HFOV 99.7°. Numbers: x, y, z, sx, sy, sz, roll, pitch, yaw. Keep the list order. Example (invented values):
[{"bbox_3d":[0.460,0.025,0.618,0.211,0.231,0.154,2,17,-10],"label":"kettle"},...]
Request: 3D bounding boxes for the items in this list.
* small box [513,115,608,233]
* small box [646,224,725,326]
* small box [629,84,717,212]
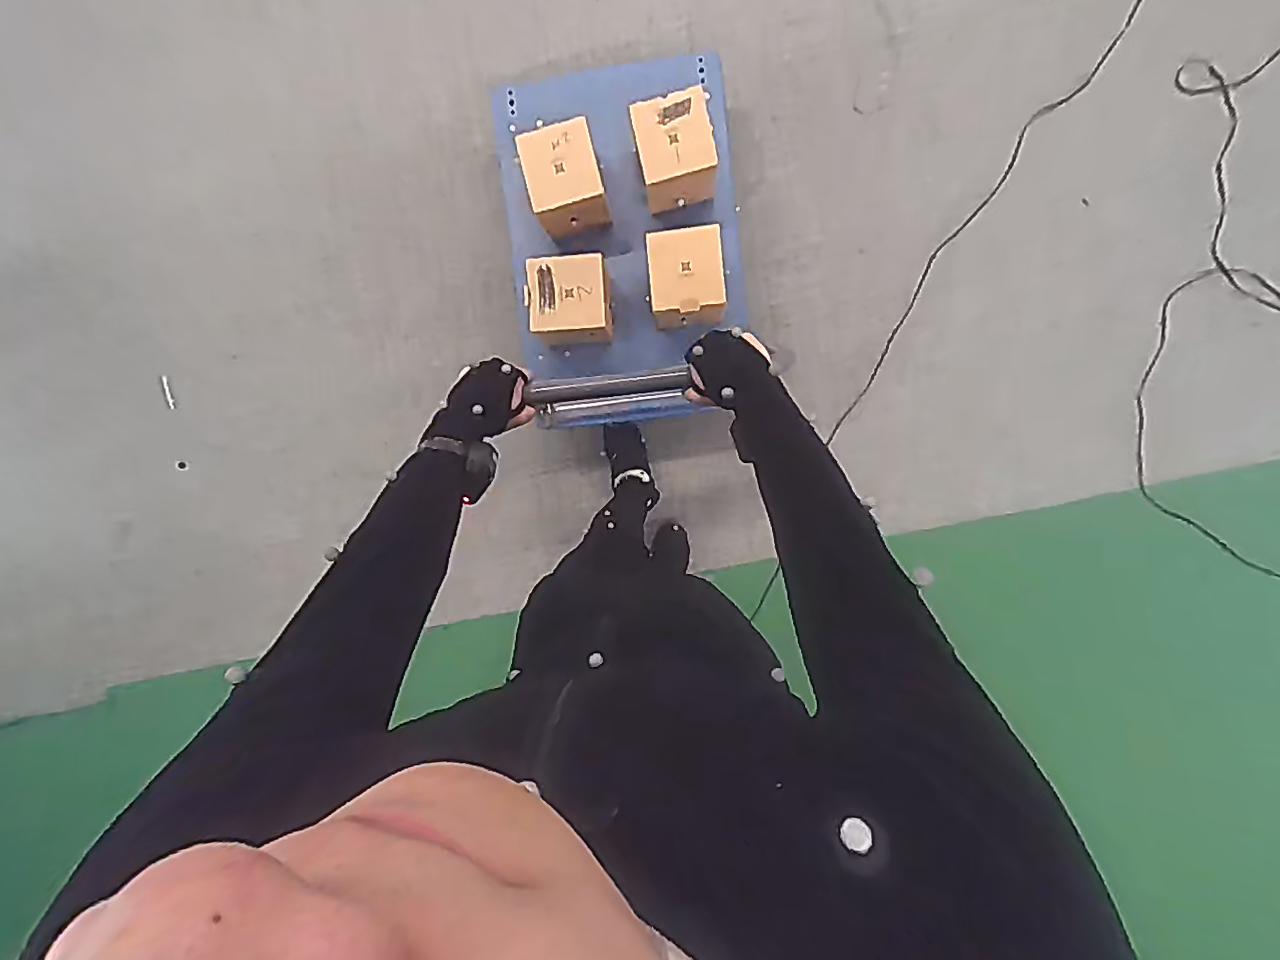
[{"bbox_3d":[-0.178,-0.706,1.276,0.168,0.176,0.179,-14,94,4],"label":"small box"},{"bbox_3d":[0.105,-0.477,1.277,0.168,0.176,0.179,-6,95,4],"label":"small box"},{"bbox_3d":[0.075,-0.760,1.256,0.168,0.176,0.179,-13,94,5],"label":"small box"}]
